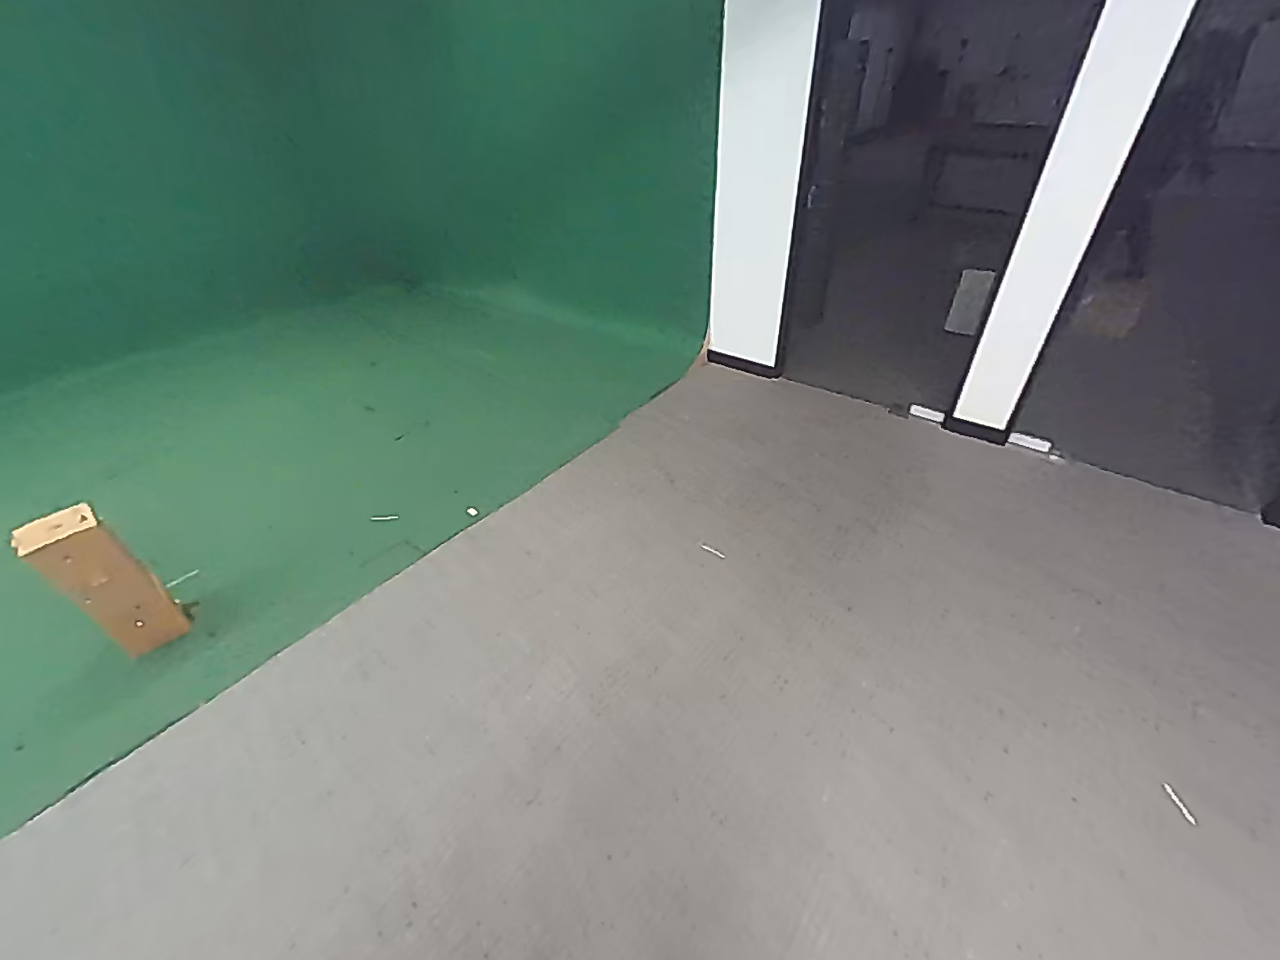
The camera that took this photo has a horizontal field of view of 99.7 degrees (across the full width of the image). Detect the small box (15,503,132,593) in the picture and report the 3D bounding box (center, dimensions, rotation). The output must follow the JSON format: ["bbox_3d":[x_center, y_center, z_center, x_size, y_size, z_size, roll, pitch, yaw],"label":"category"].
[{"bbox_3d":[-1.682,0.205,1.612,0.168,0.176,0.179,27,47,33],"label":"small box"}]

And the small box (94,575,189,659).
[{"bbox_3d":[-1.665,0.460,1.817,0.168,0.176,0.179,29,47,33],"label":"small box"}]
